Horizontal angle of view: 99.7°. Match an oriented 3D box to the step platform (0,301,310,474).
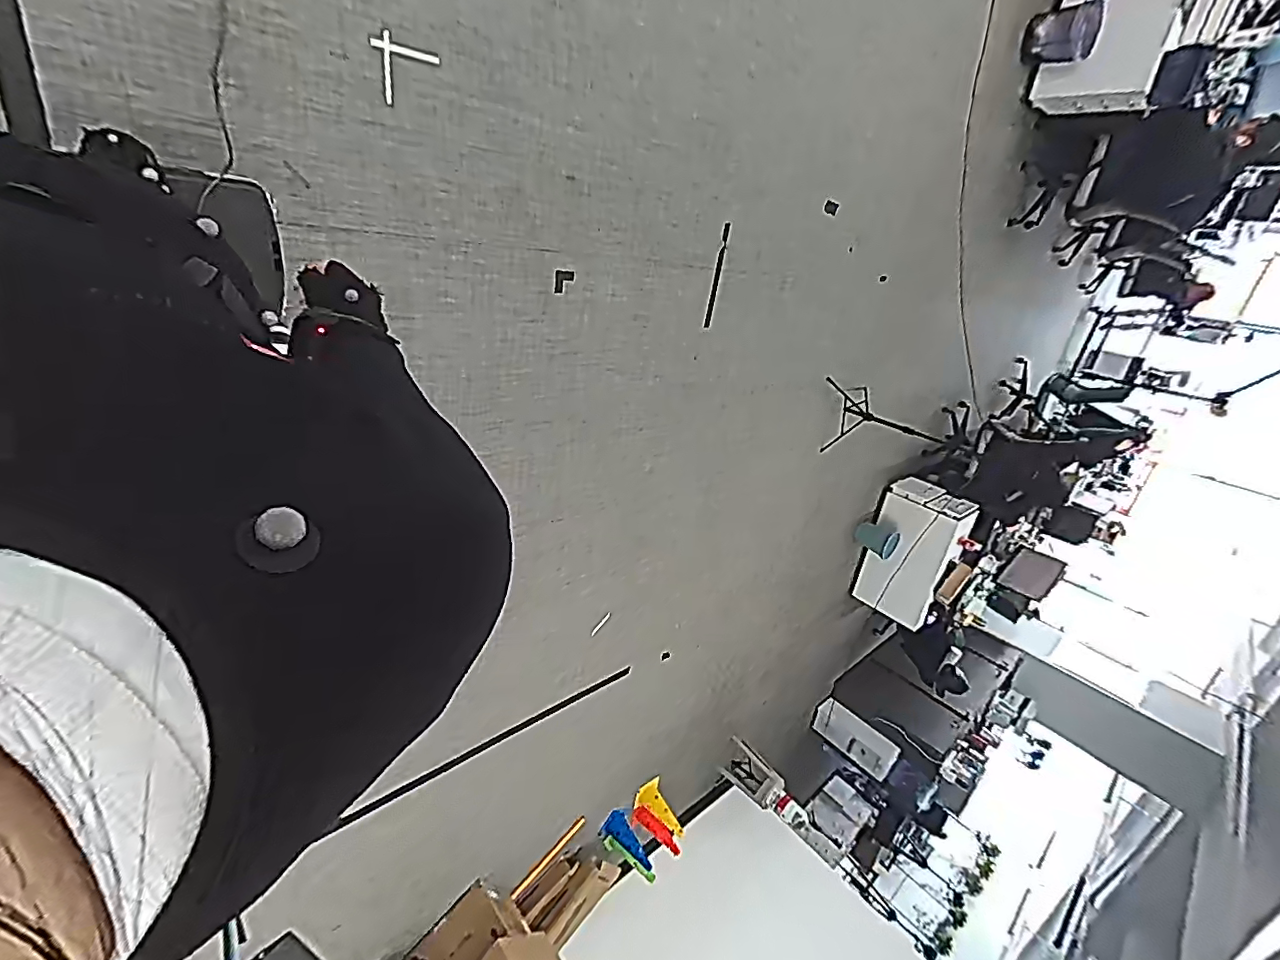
[{"bbox_3d":[-1.045,-0.194,1.055,0.684,0.204,0.286,-13,122,-39],"label":"step platform"}]
